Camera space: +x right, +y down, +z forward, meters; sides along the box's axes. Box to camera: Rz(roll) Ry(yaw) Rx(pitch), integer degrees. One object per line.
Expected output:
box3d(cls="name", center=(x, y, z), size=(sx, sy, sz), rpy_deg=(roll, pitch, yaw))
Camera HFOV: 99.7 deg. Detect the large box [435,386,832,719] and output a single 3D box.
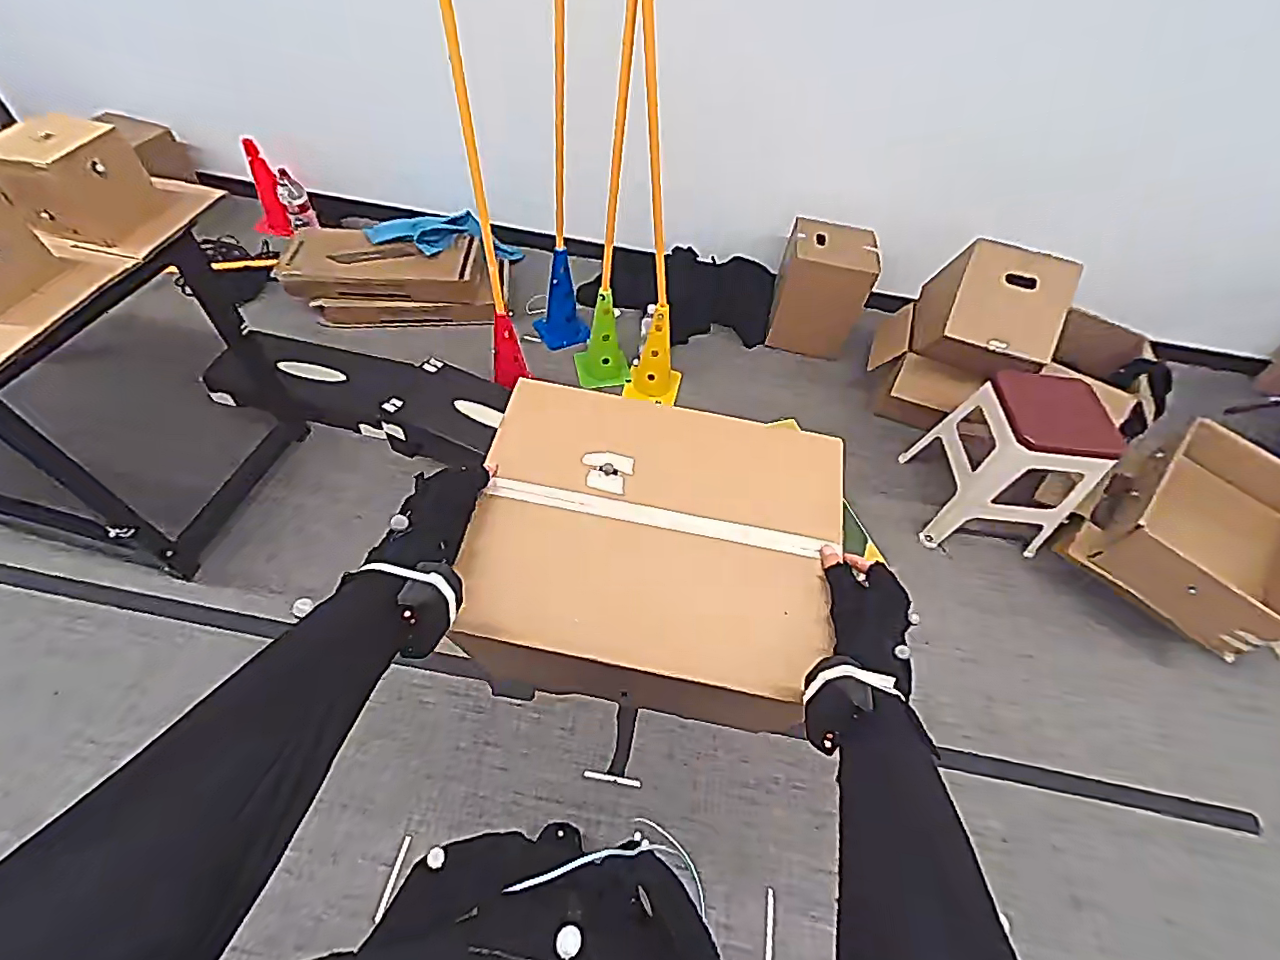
box3d(cls="large box", center=(0.011, 0.115, 0.734), size=(0.408, 0.320, 0.320), rpy_deg=(11, 61, 4))
